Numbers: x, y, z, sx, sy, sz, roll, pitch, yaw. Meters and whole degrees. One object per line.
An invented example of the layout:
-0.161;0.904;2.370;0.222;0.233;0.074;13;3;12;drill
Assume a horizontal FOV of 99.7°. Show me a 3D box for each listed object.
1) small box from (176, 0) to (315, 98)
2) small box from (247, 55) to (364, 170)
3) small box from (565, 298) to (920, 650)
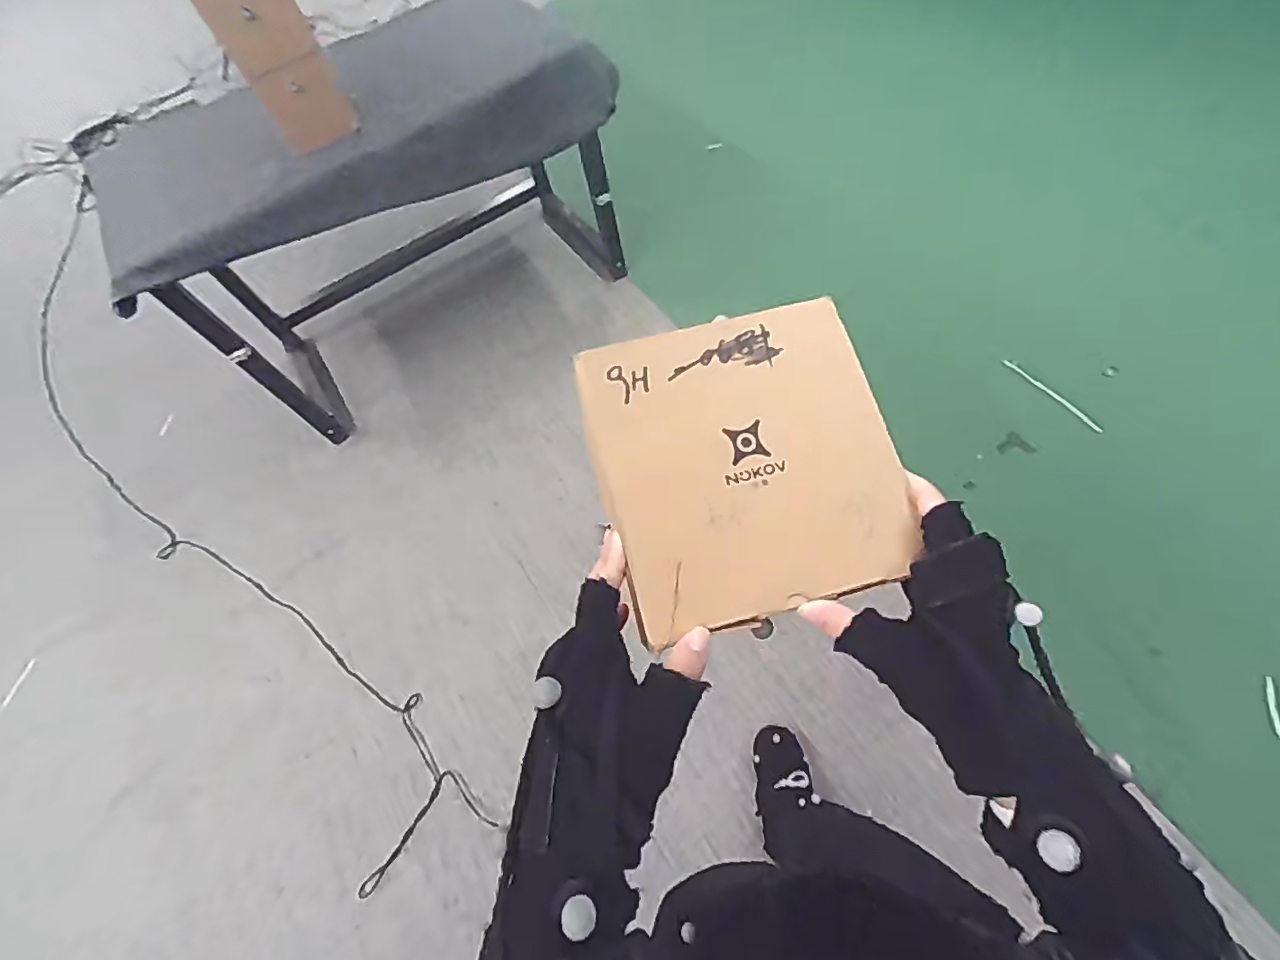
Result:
-0.812;-0.943;1.123;0.179;0.176;0.168;-33;62;-6;small box
-0.790;-0.869;1.268;0.179;0.176;0.168;-32;62;-9;small box
0.054;0.007;0.388;0.168;0.176;0.179;-16;77;-6;small box
